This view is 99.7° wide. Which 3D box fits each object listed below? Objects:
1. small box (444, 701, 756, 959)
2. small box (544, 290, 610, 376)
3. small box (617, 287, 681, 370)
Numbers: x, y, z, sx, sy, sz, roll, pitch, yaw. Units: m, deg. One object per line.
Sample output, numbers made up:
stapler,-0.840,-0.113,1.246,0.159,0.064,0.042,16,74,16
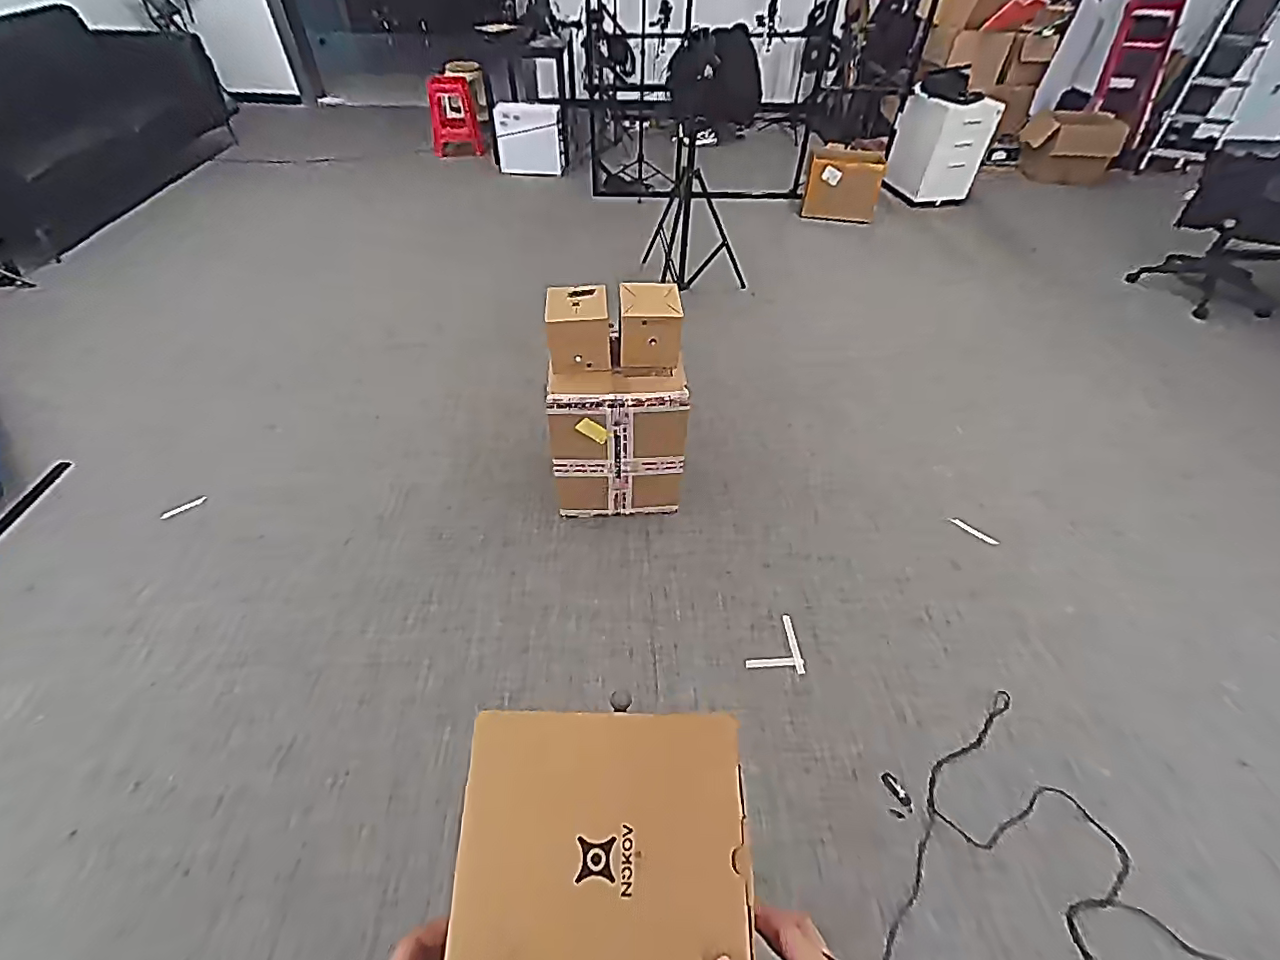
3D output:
small box,-0.025,0.259,0.395,0.179,0.176,0.168,1,63,-3
small box,-0.173,-0.414,1.522,0.168,0.176,0.179,-4,48,-2
small box,0.022,-0.432,1.540,0.168,0.176,0.179,0,48,-6
